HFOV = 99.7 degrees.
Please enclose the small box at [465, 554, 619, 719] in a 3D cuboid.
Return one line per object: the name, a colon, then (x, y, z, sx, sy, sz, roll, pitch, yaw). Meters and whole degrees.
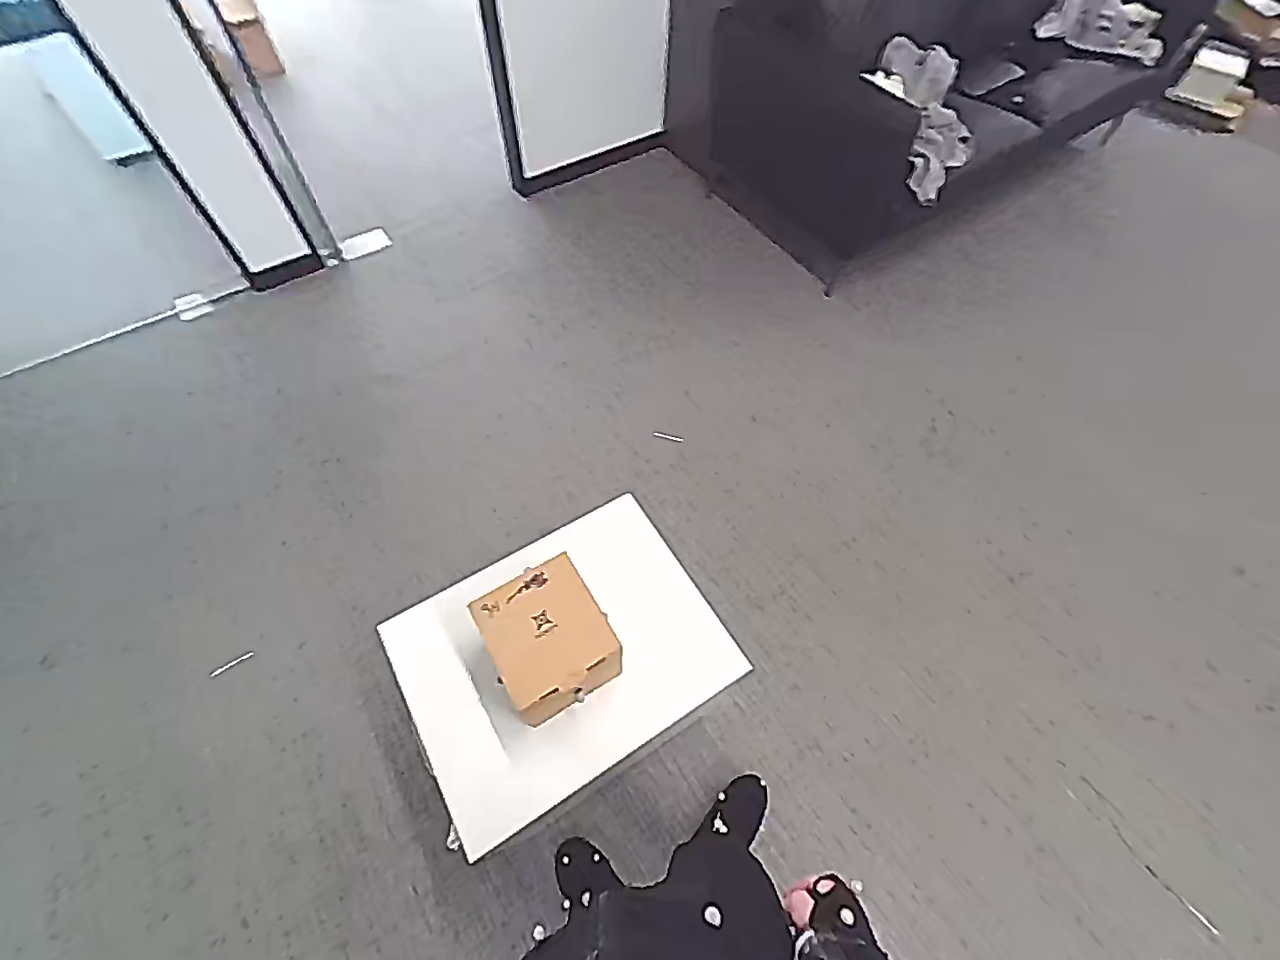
small box: (-0.143, 0.252, 0.845, 0.168, 0.176, 0.179, -30, 64, -18)
